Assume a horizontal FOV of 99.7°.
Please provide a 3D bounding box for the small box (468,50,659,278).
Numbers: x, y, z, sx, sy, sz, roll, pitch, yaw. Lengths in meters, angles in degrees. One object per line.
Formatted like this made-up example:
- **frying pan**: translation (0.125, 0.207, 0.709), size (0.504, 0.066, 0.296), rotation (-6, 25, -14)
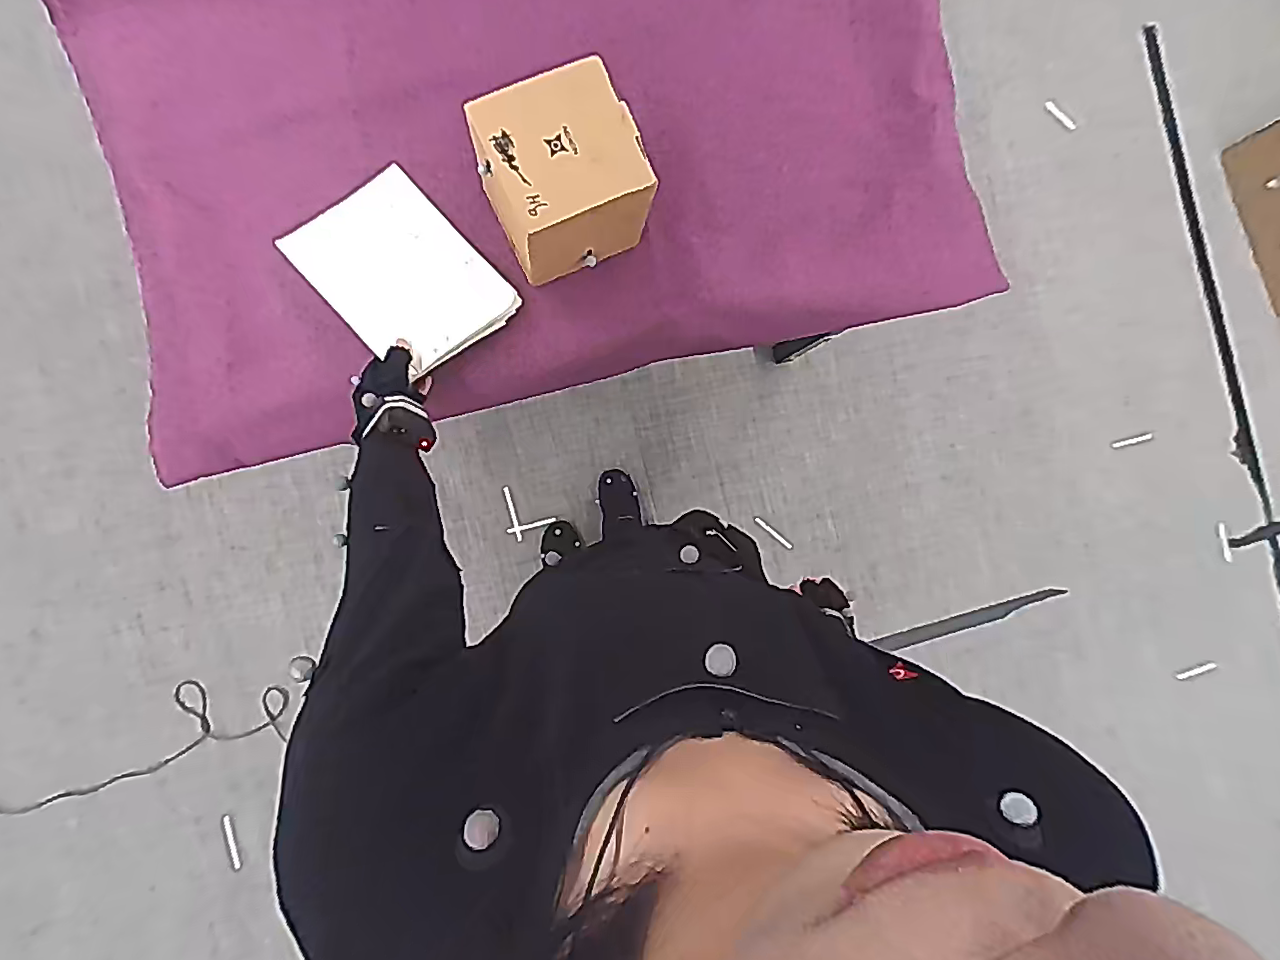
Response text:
- **small box**: translation (-0.099, -0.395, 0.705), size (0.179, 0.176, 0.168), rotation (-26, 92, -9)
